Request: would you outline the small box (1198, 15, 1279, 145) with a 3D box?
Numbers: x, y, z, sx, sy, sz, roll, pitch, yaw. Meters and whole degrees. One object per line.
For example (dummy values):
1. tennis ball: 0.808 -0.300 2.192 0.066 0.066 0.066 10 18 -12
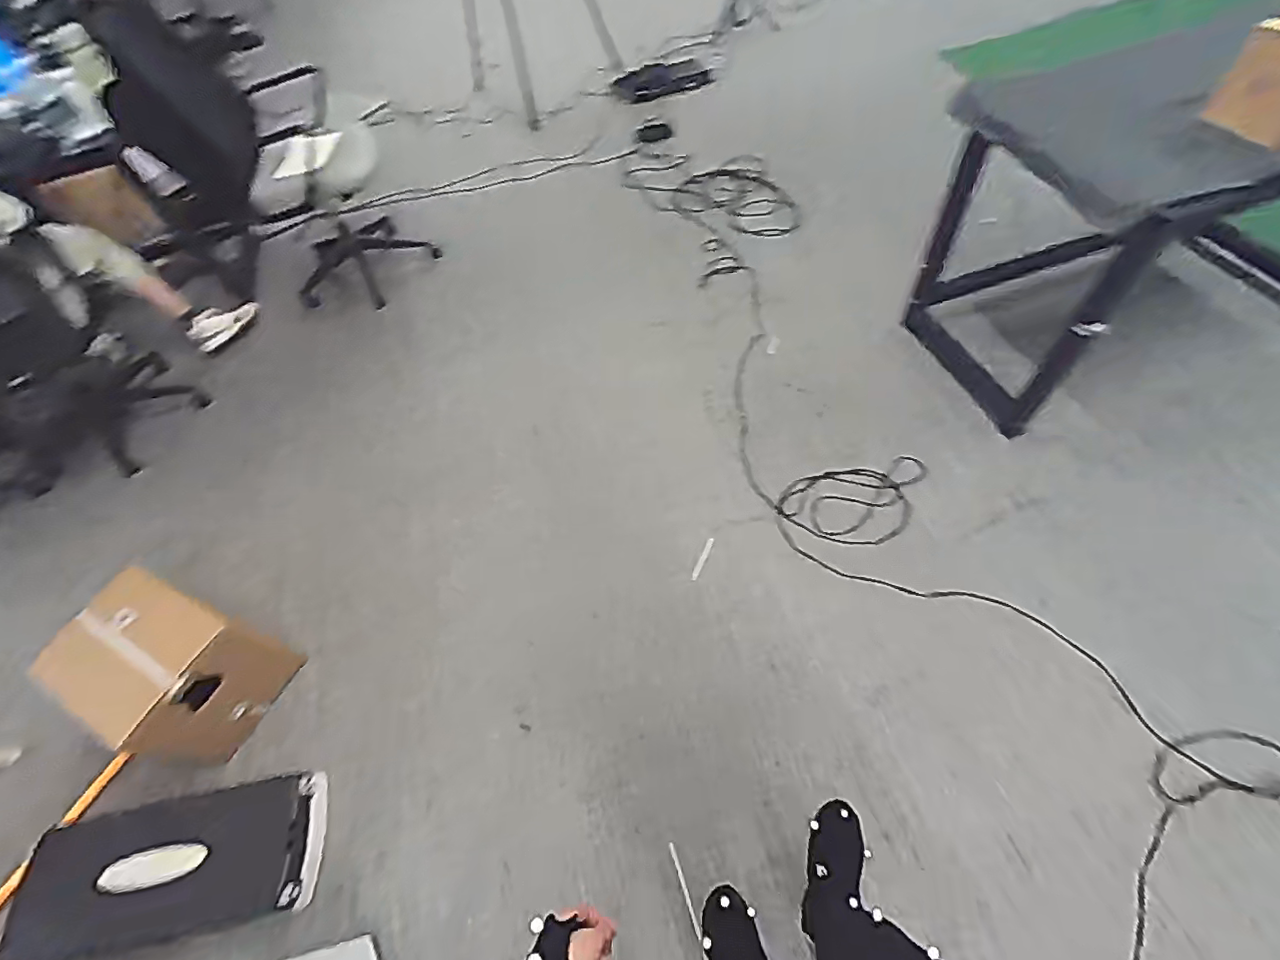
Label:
1. small box: 1.295 -0.800 1.070 0.168 0.176 0.179 -19 55 -3
